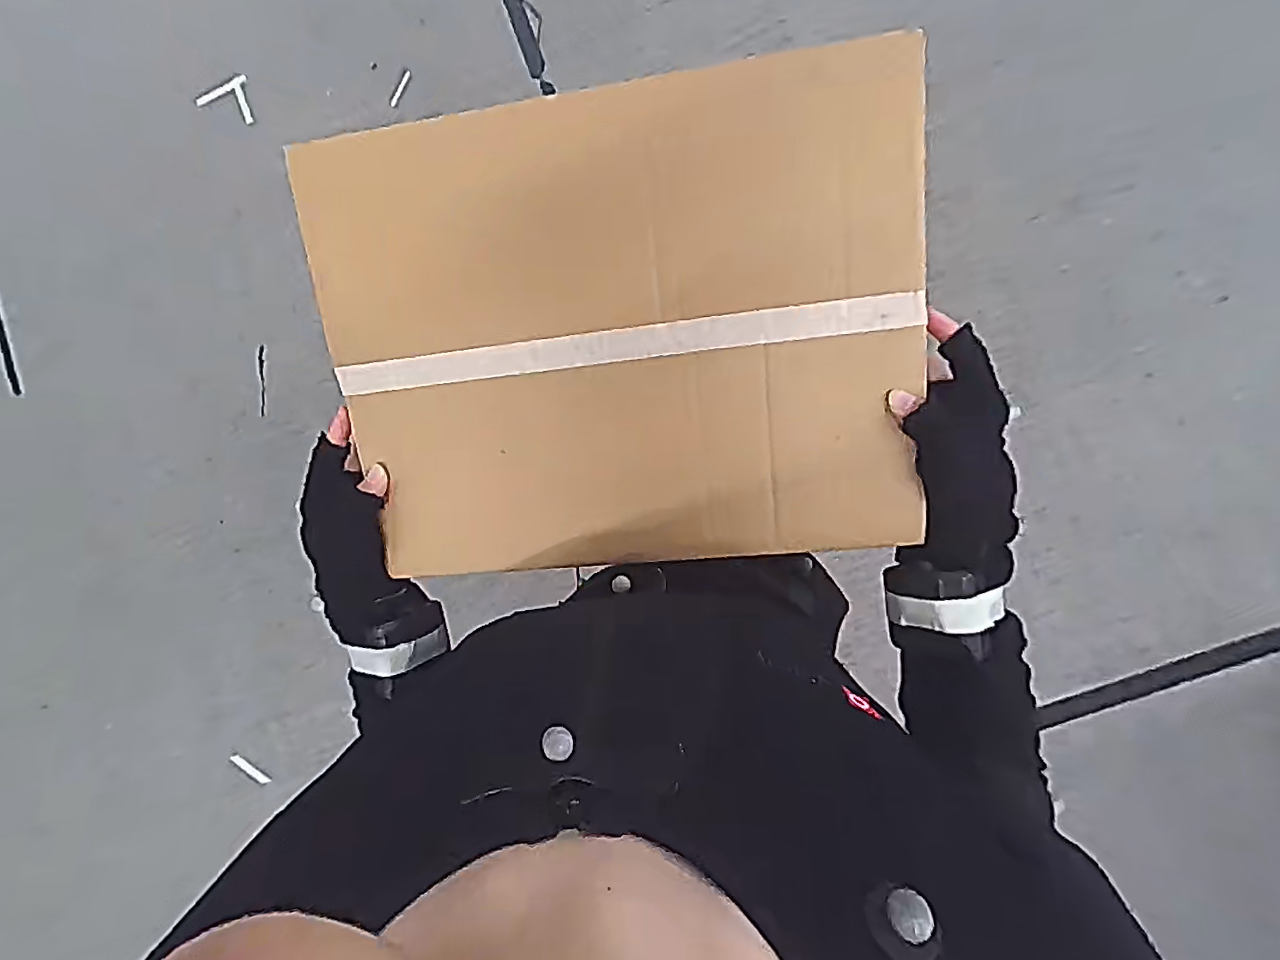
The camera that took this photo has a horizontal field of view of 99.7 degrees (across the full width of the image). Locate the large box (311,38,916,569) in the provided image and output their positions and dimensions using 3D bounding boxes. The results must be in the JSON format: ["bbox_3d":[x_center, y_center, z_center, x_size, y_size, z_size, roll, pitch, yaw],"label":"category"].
[{"bbox_3d":[-0.002,-0.129,0.524,0.408,0.320,0.320,-5,104,8],"label":"large box"}]
